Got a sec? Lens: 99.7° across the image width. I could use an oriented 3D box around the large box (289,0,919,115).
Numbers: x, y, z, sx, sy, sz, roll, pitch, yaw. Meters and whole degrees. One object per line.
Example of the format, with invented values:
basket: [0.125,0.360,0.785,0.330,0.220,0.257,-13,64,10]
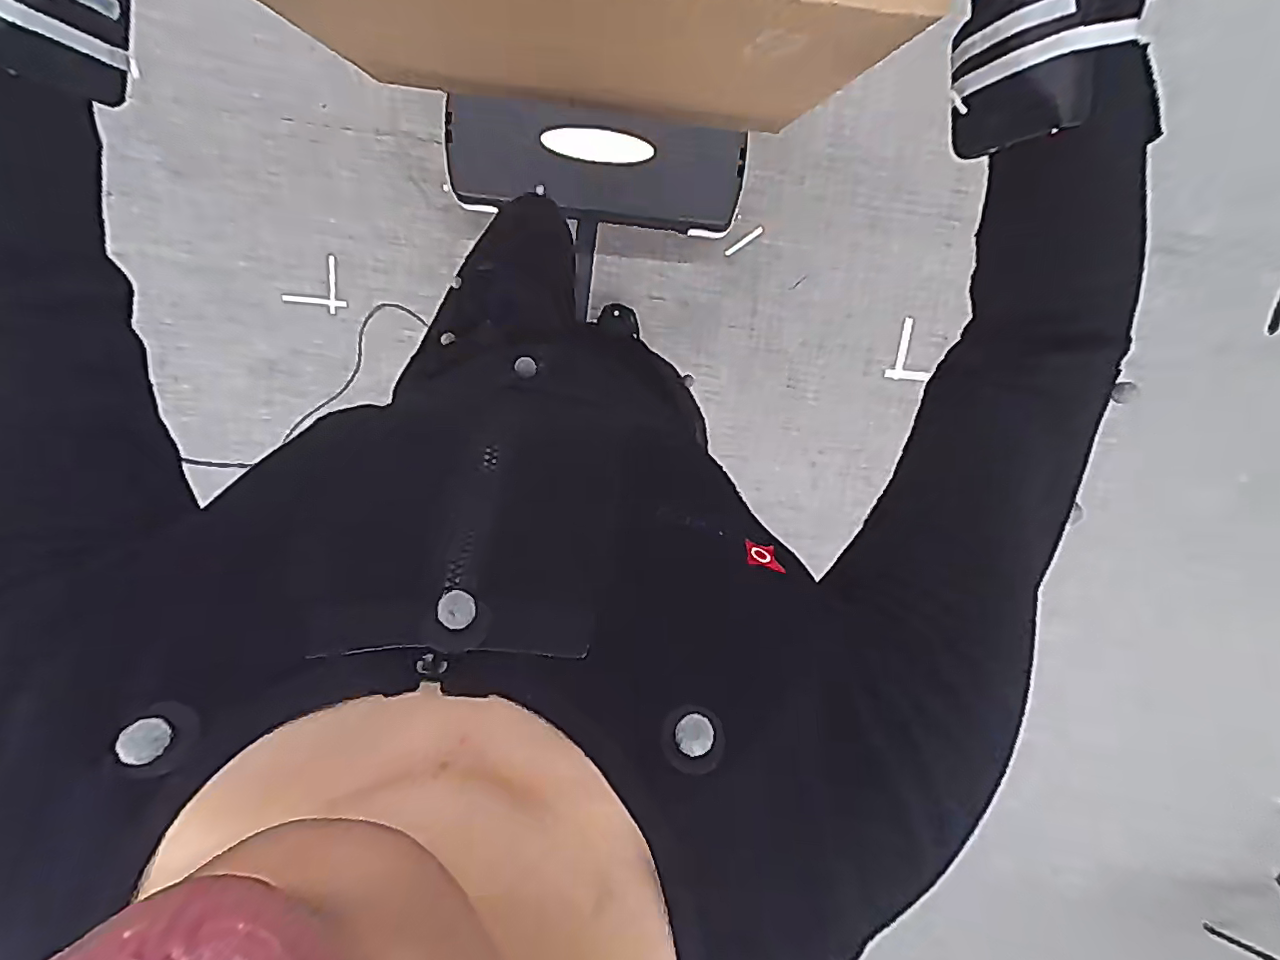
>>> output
large box: [-0.035,-0.463,0.348,0.408,0.320,0.320,3,114,-5]
